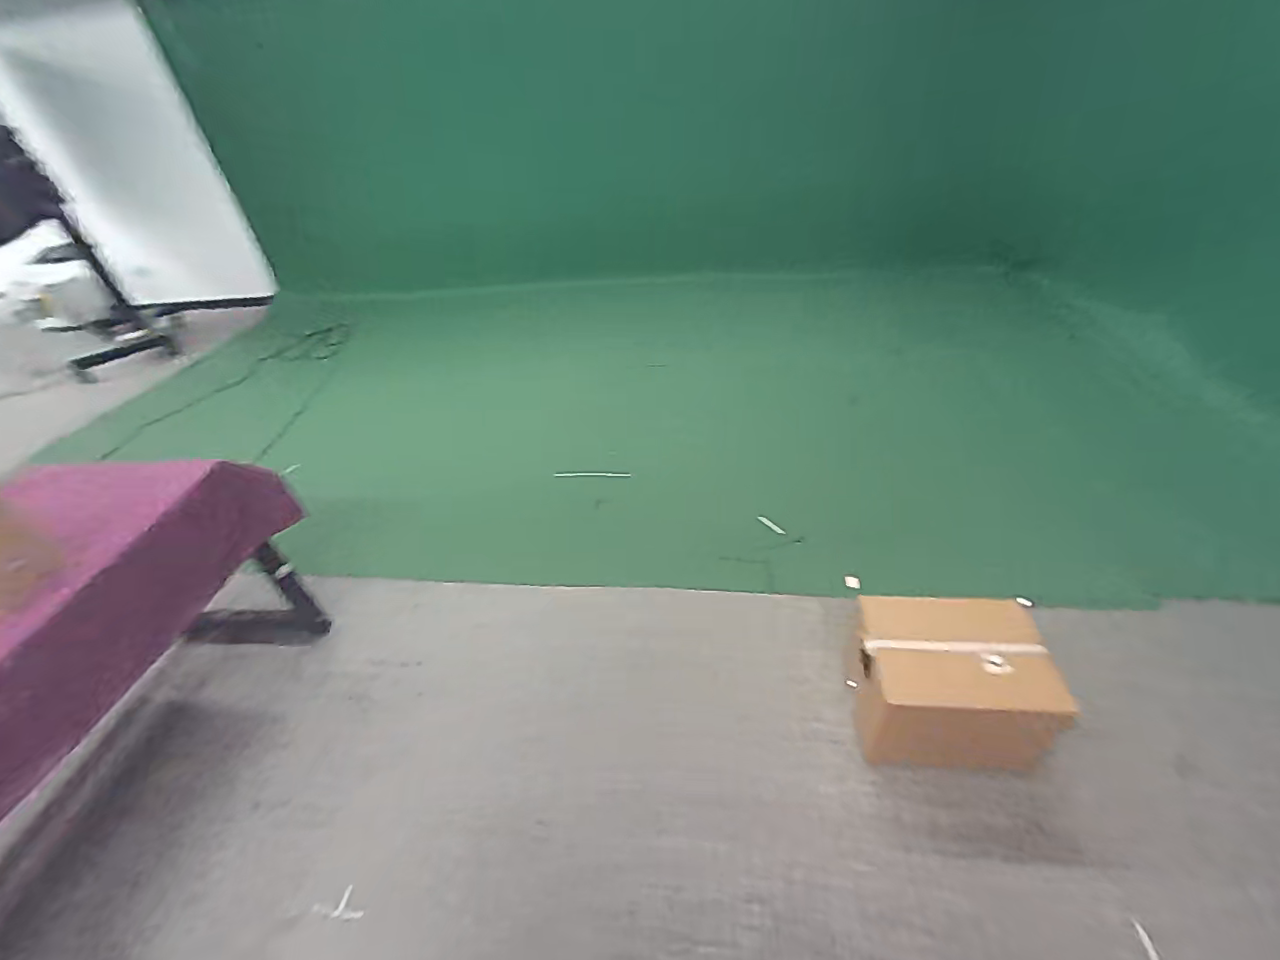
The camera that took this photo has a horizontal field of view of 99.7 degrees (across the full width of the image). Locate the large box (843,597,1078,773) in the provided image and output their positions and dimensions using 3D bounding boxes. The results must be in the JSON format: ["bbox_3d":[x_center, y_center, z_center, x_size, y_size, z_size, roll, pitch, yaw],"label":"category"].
[{"bbox_3d":[0.784,0.527,1.405,0.408,0.320,0.320,1,39,8],"label":"large box"}]
